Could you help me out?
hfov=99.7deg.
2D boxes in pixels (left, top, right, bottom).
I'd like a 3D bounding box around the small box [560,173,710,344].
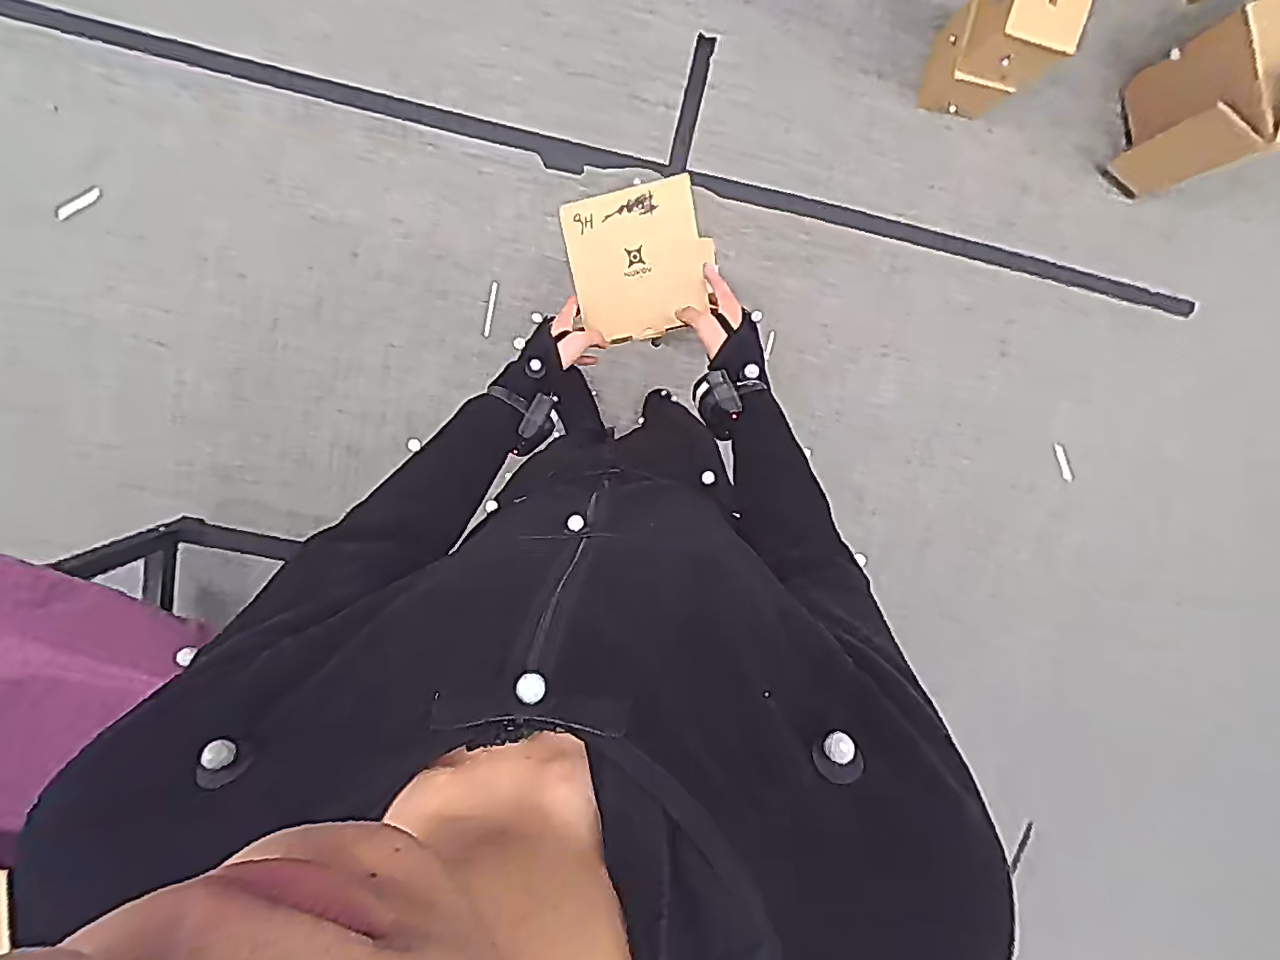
[{"bbox_3d":[0.005,-0.296,0.753,0.168,0.176,0.179,-9,104,9],"label":"small box"}]
